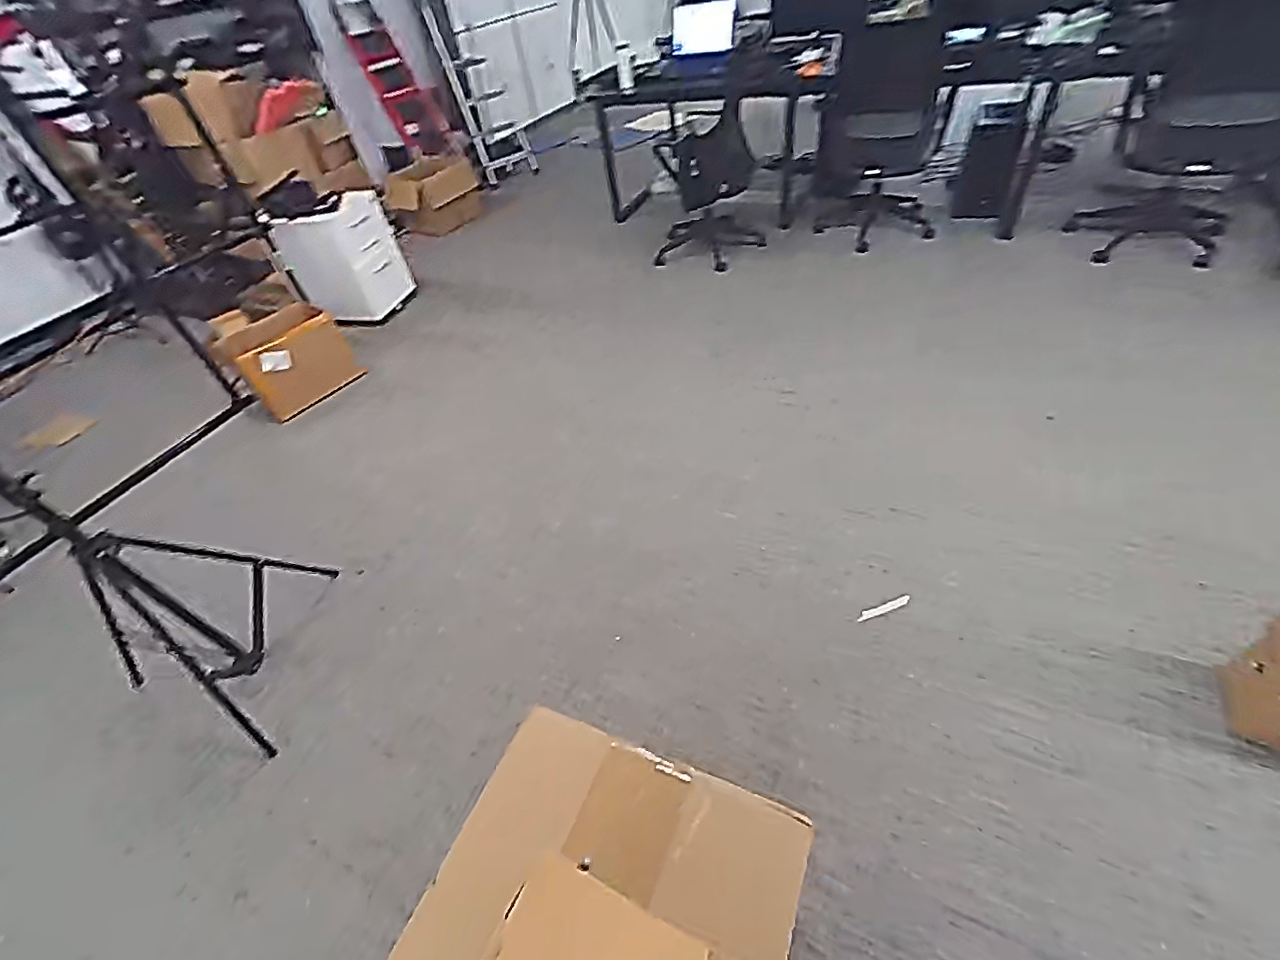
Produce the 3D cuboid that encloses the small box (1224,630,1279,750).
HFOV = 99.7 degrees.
[{"bbox_3d":[1.368,0.452,1.121,0.168,0.176,0.179,19,53,29],"label":"small box"}]
